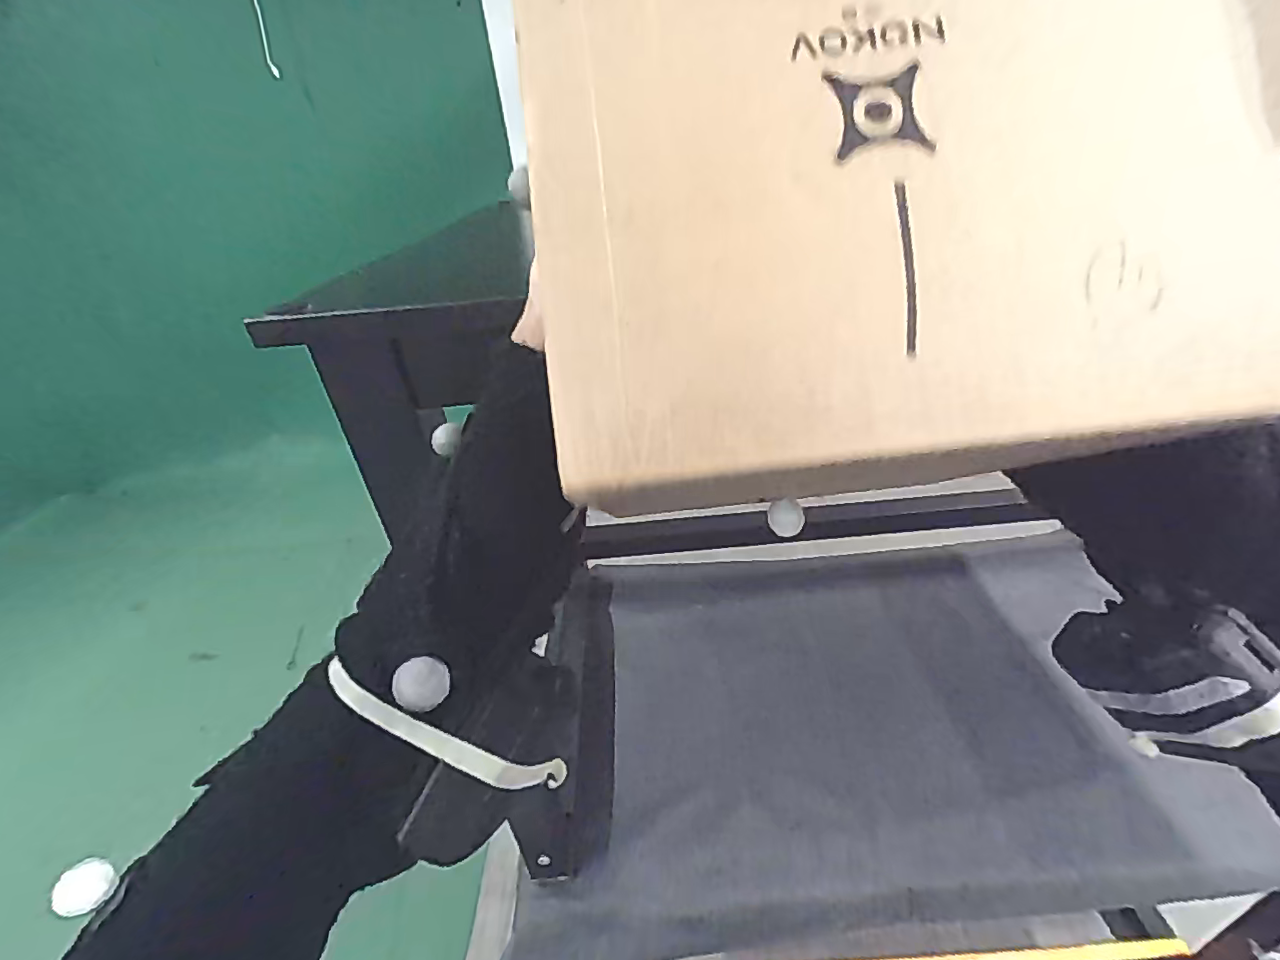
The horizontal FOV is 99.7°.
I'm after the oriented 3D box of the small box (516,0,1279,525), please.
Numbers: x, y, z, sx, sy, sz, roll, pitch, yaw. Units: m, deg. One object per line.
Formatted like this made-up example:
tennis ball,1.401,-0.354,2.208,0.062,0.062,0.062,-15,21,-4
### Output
small box,0.055,-0.077,0.209,0.168,0.179,0.176,-6,-5,1
